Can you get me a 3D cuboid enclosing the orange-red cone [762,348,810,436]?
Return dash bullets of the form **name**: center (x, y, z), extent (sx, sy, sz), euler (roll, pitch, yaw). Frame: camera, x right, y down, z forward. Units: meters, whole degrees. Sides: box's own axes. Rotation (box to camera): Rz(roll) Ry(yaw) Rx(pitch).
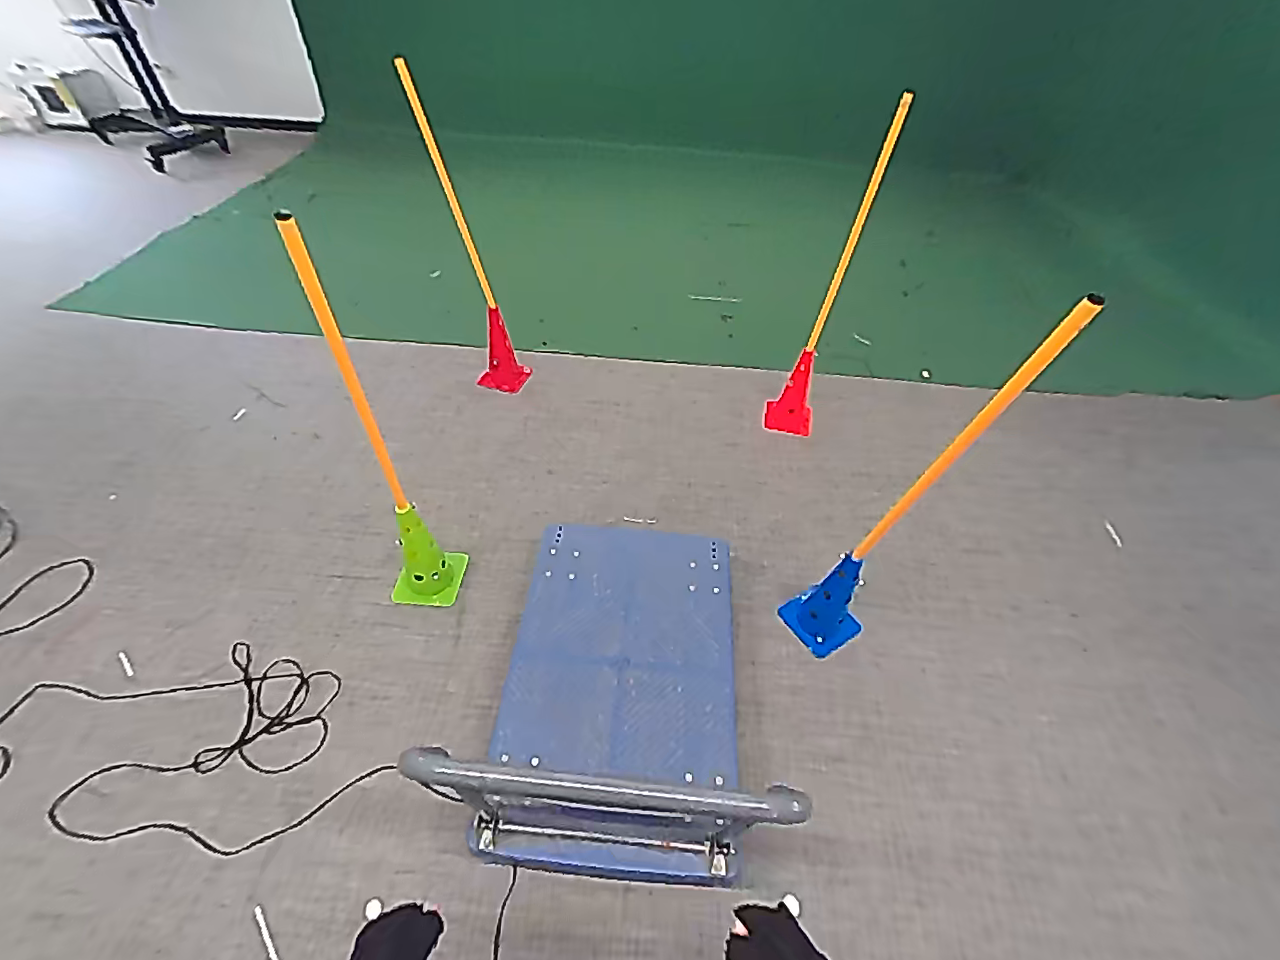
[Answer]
- **orange-red cone**: center (0.647, -0.386, 2.253), extent (0.198, 0.360, 0.199), euler (12, 48, 9)
